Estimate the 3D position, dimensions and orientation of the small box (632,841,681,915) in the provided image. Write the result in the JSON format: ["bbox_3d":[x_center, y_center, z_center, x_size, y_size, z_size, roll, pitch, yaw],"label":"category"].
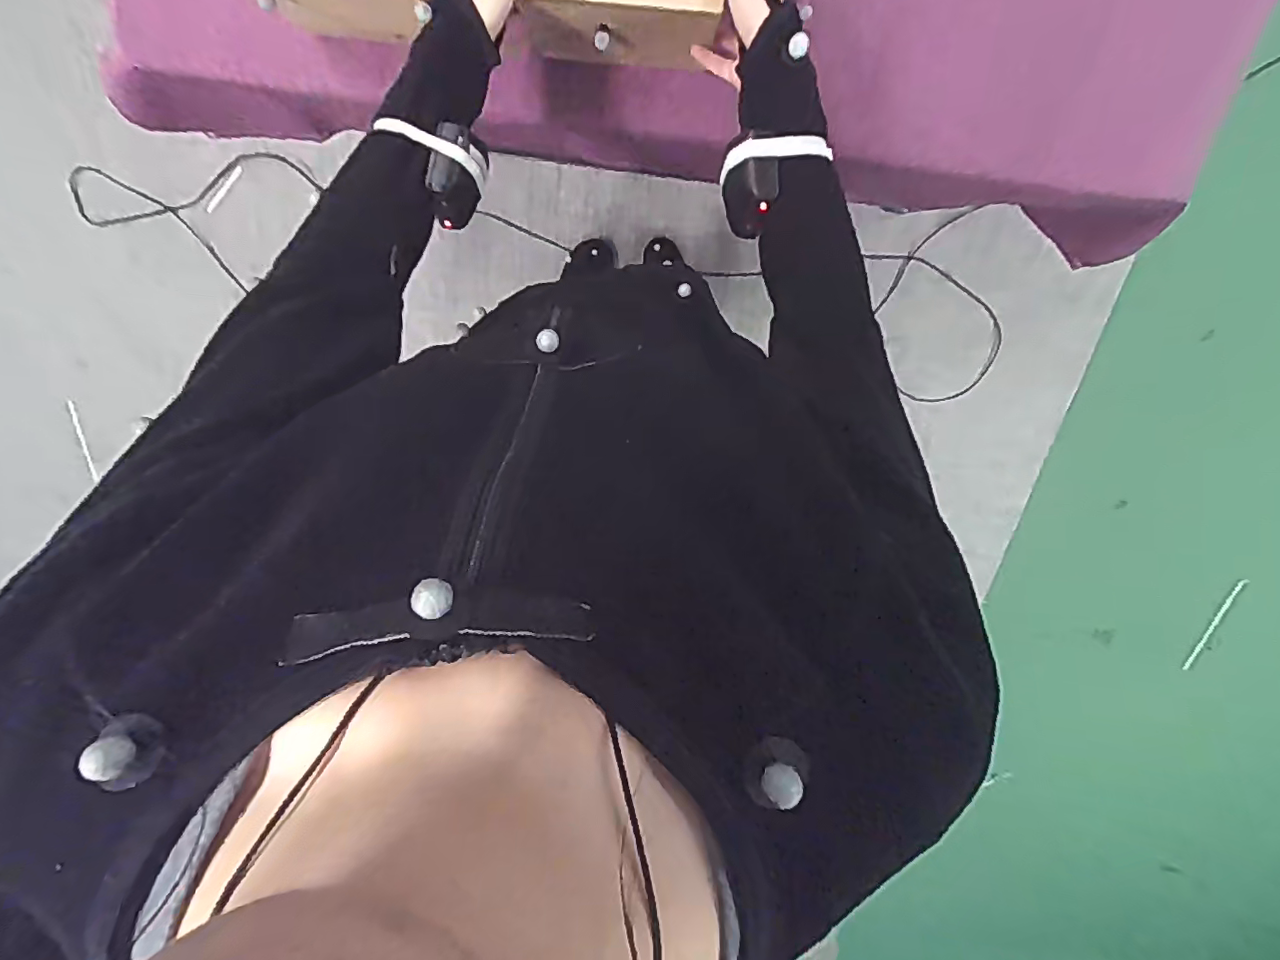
[{"bbox_3d":[0.063,1.566,2.129,0.168,0.176,0.179,7,113,-3],"label":"small box"}]

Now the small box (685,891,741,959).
[{"bbox_3d":[0.261,1.645,1.979,0.179,0.176,0.168,4,113,-1],"label":"small box"}]
